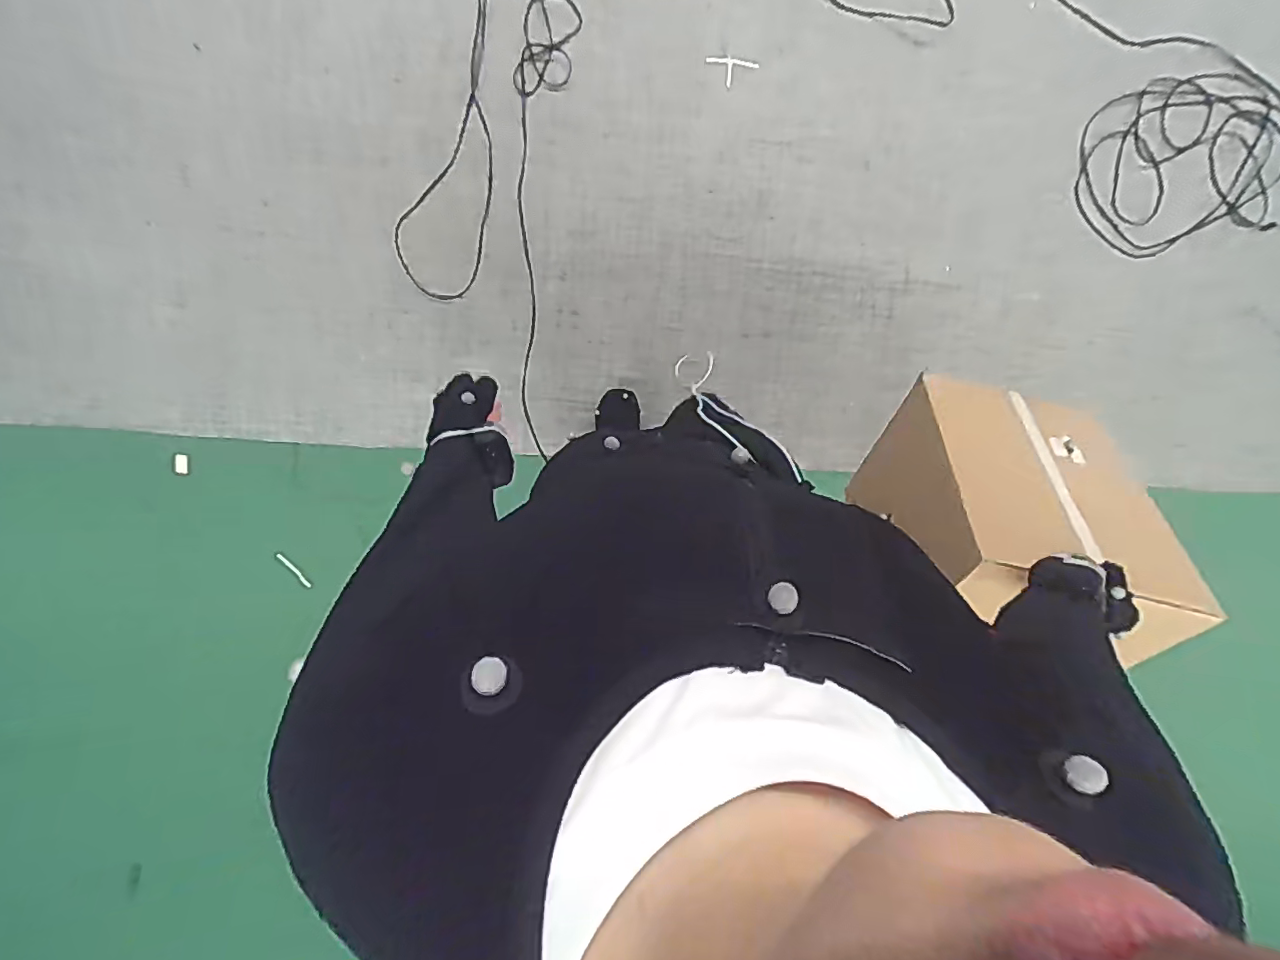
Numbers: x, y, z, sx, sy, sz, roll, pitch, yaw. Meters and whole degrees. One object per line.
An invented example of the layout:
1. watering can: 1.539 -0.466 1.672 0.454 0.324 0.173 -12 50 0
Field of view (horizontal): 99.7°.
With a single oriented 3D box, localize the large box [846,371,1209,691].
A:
1. large box: 0.575 0.083 0.917 0.320 0.408 0.320 14 137 -1
